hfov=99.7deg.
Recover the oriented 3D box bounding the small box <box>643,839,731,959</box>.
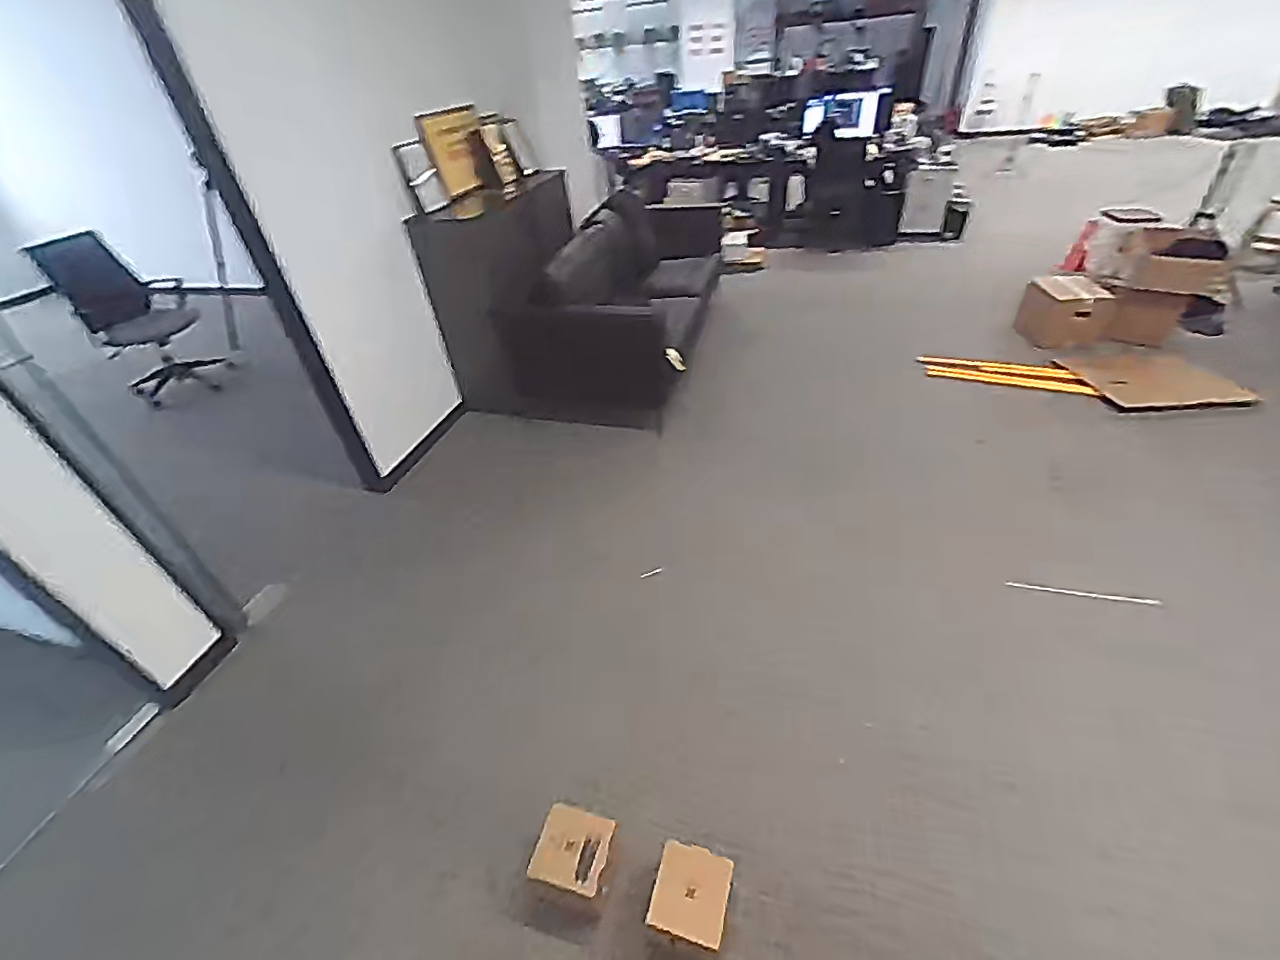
[{"bbox_3d":[0.118,0.991,1.265,0.168,0.176,0.179,8,39,18],"label":"small box"}]
